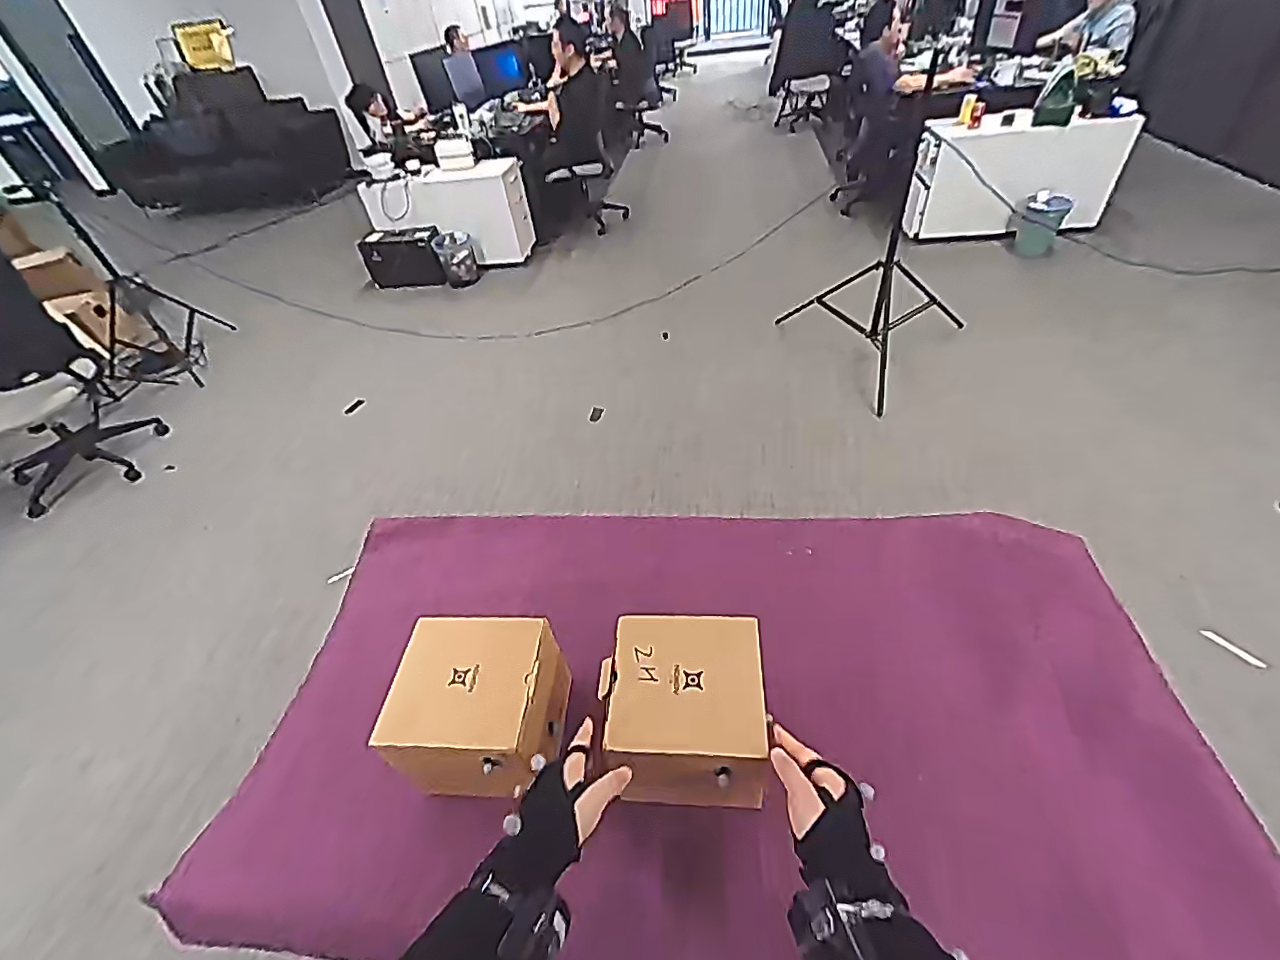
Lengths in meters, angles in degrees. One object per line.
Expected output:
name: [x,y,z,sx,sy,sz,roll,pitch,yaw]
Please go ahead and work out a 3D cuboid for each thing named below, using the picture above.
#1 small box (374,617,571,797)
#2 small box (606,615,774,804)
small box: [-0.200,0.296,0.704,0.179,0.176,0.168,-2,43,6]
small box: [0.065,0.285,0.672,0.179,0.176,0.168,-2,43,8]
